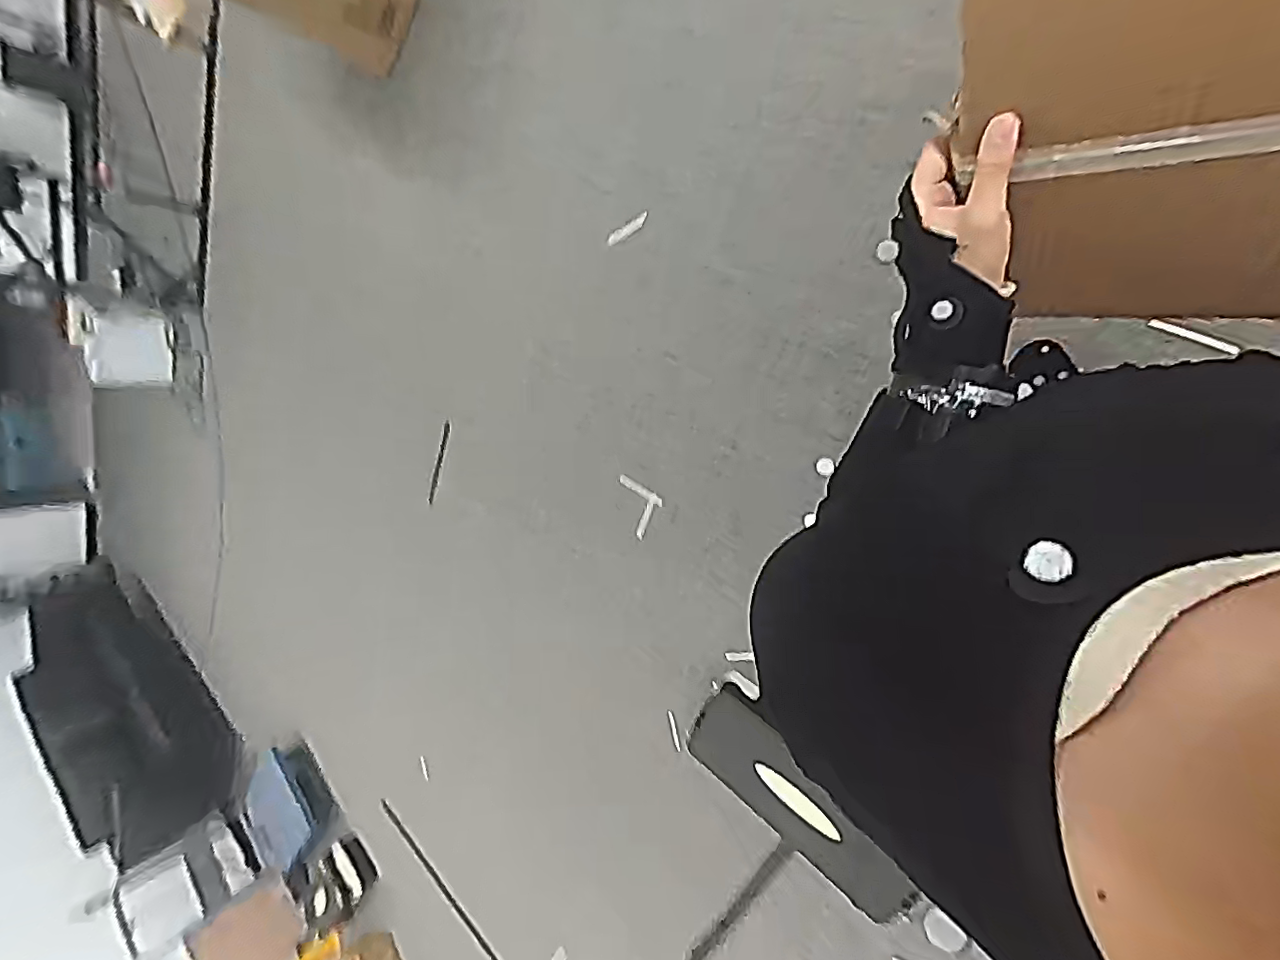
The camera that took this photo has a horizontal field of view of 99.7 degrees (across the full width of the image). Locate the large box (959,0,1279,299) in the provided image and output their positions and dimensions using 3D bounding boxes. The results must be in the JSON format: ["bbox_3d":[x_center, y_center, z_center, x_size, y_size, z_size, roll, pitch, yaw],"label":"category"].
[{"bbox_3d":[0.399,-0.313,0.241,0.408,0.320,0.320,10,75,35],"label":"large box"}]
